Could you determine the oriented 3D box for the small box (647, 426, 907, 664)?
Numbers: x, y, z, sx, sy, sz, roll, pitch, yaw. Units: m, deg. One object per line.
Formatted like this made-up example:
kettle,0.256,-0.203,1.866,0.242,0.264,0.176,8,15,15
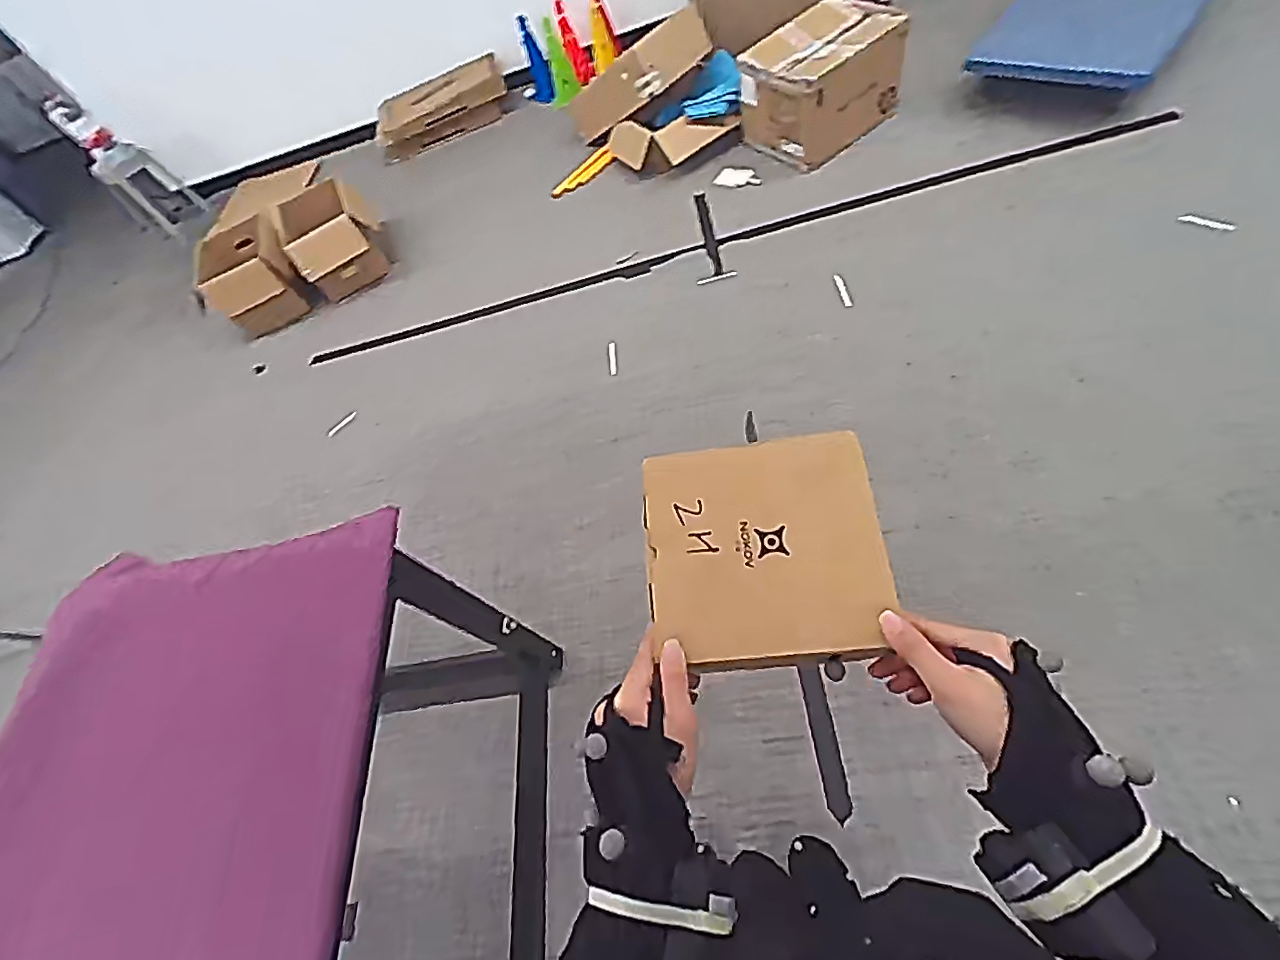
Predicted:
small box,0.108,0.070,0.481,0.179,0.176,0.168,-7,67,9
